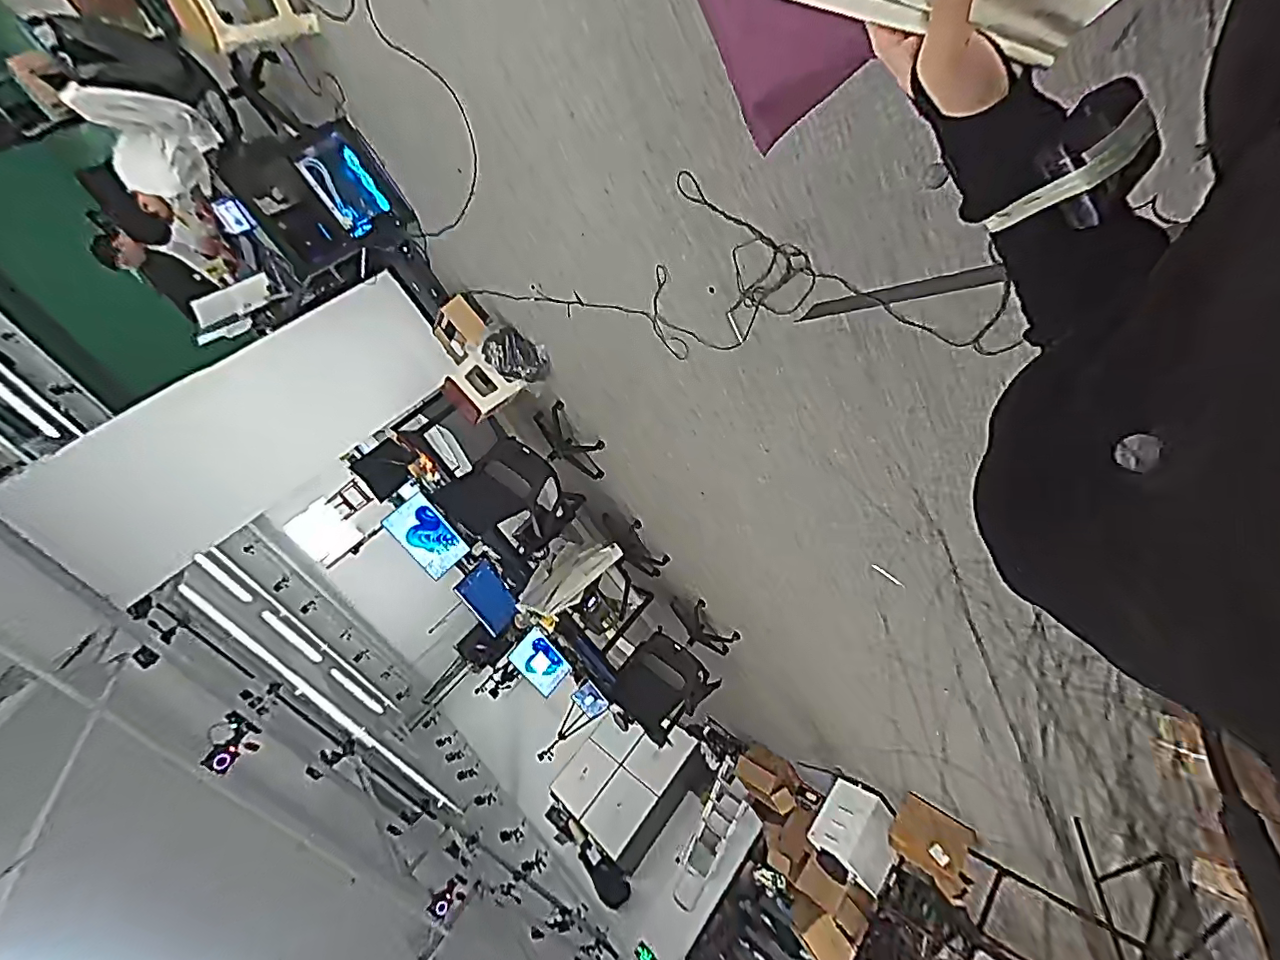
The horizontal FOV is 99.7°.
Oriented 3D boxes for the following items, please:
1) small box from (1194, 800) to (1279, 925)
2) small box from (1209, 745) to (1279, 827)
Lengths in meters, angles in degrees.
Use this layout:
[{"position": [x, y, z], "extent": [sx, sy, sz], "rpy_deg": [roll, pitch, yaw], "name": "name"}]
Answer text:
[{"position": [1.513, 0.945, 1.344], "extent": [0.168, 0.176, 0.179], "rpy_deg": [10, 137, 51], "name": "small box"}, {"position": [1.614, 0.833, 1.409], "extent": [0.168, 0.176, 0.179], "rpy_deg": [13, 141, 49], "name": "small box"}]
